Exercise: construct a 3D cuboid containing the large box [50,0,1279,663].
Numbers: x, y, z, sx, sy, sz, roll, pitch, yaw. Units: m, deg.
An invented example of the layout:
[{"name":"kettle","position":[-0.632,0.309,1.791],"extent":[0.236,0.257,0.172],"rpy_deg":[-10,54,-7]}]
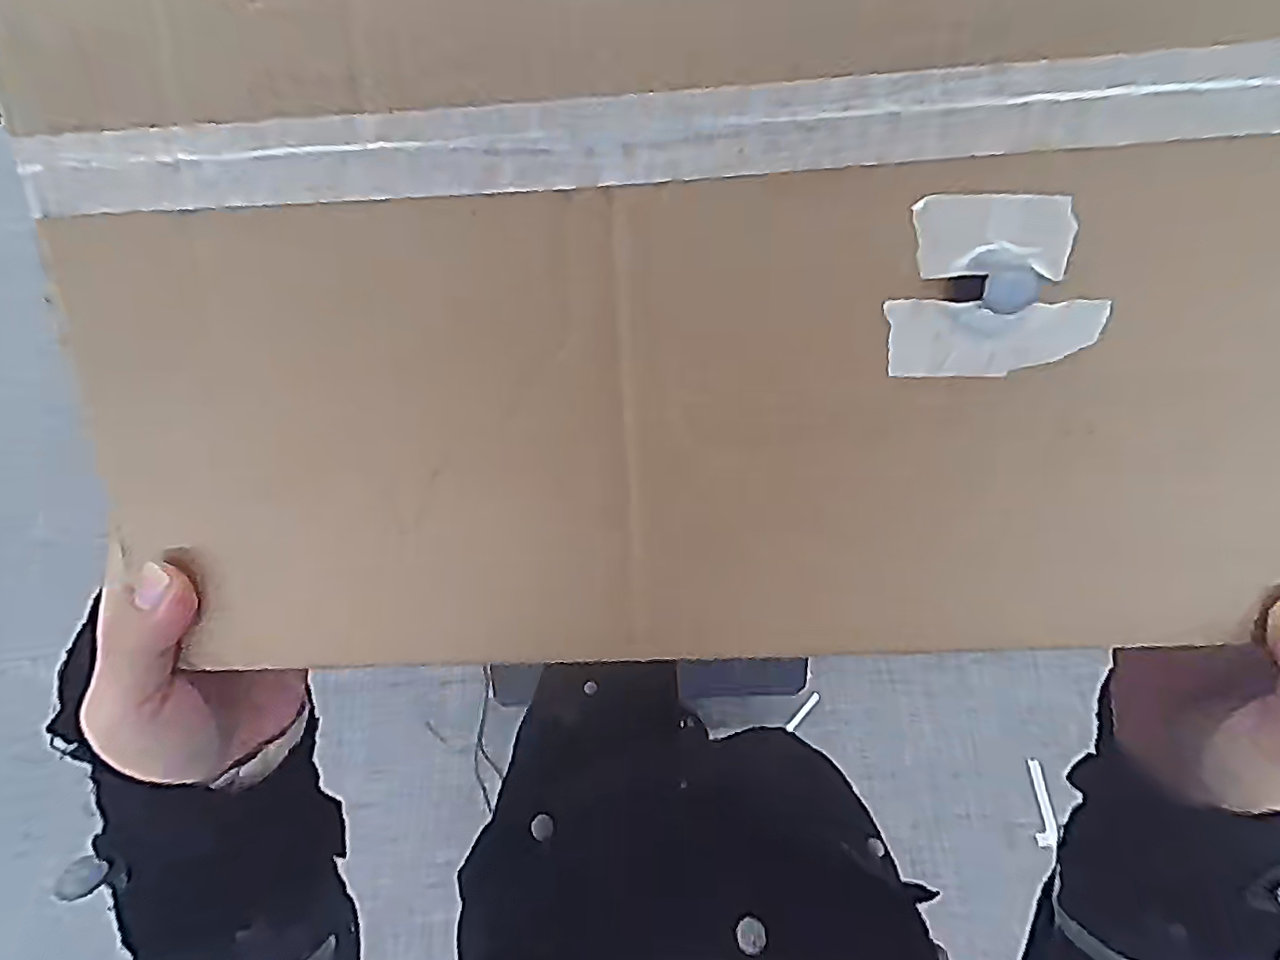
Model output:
[{"name":"large box","position":[0.030,-0.123,0.308],"extent":[0.408,0.320,0.320],"rpy_deg":[-3,102,2]}]
